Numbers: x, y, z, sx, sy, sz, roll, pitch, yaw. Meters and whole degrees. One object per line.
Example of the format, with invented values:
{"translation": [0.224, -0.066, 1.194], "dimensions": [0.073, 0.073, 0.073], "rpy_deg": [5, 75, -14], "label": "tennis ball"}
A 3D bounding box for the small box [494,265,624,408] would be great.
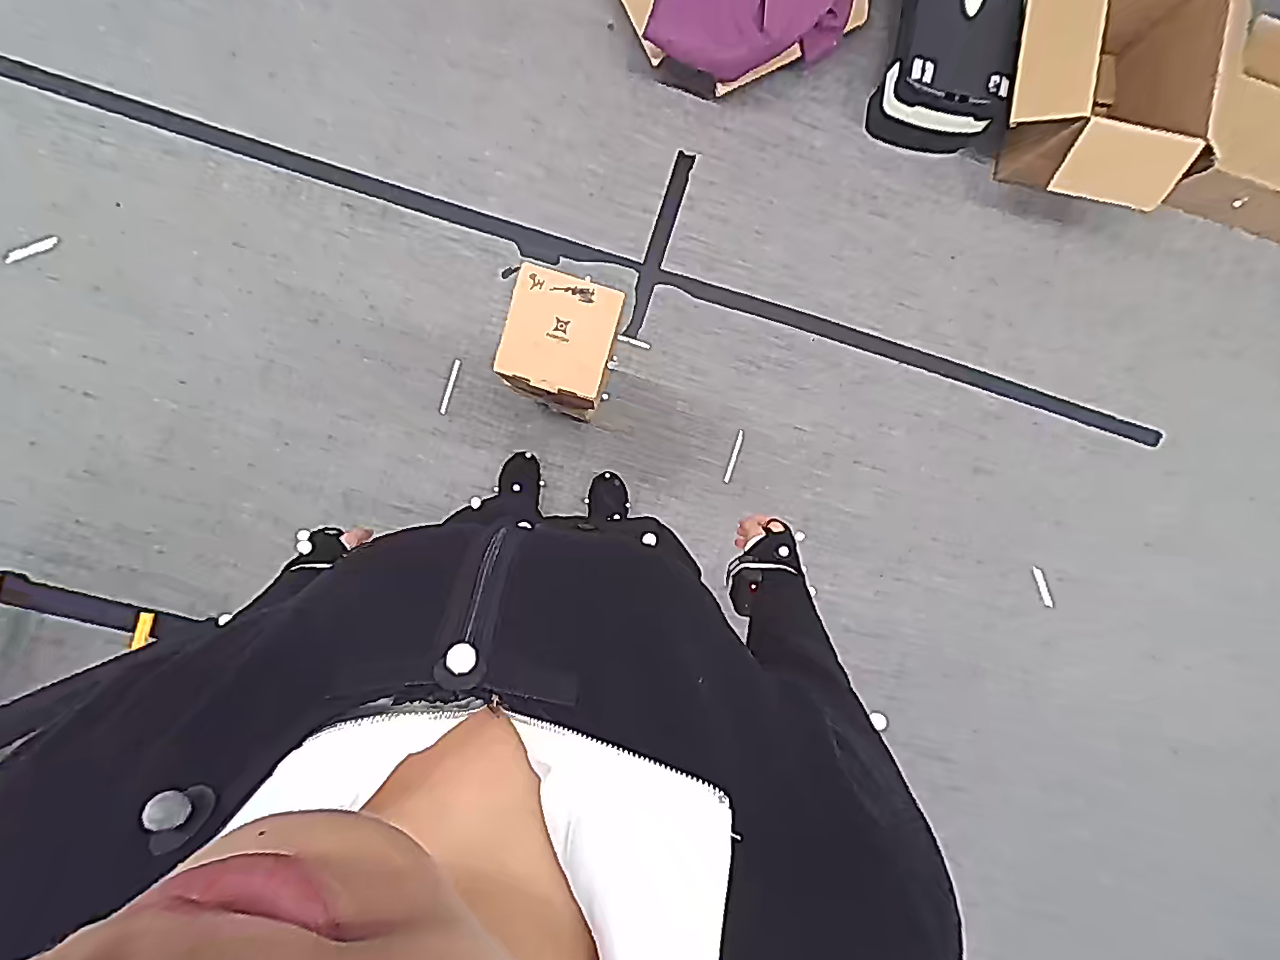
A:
{"translation": [-0.127, -0.227, 0.911], "dimensions": [0.168, 0.176, 0.179], "rpy_deg": [16, 92, -4], "label": "small box"}

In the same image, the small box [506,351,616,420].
{"translation": [-0.148, -0.229, 1.074], "dimensions": [0.168, 0.176, 0.179], "rpy_deg": [20, 92, -4], "label": "small box"}
